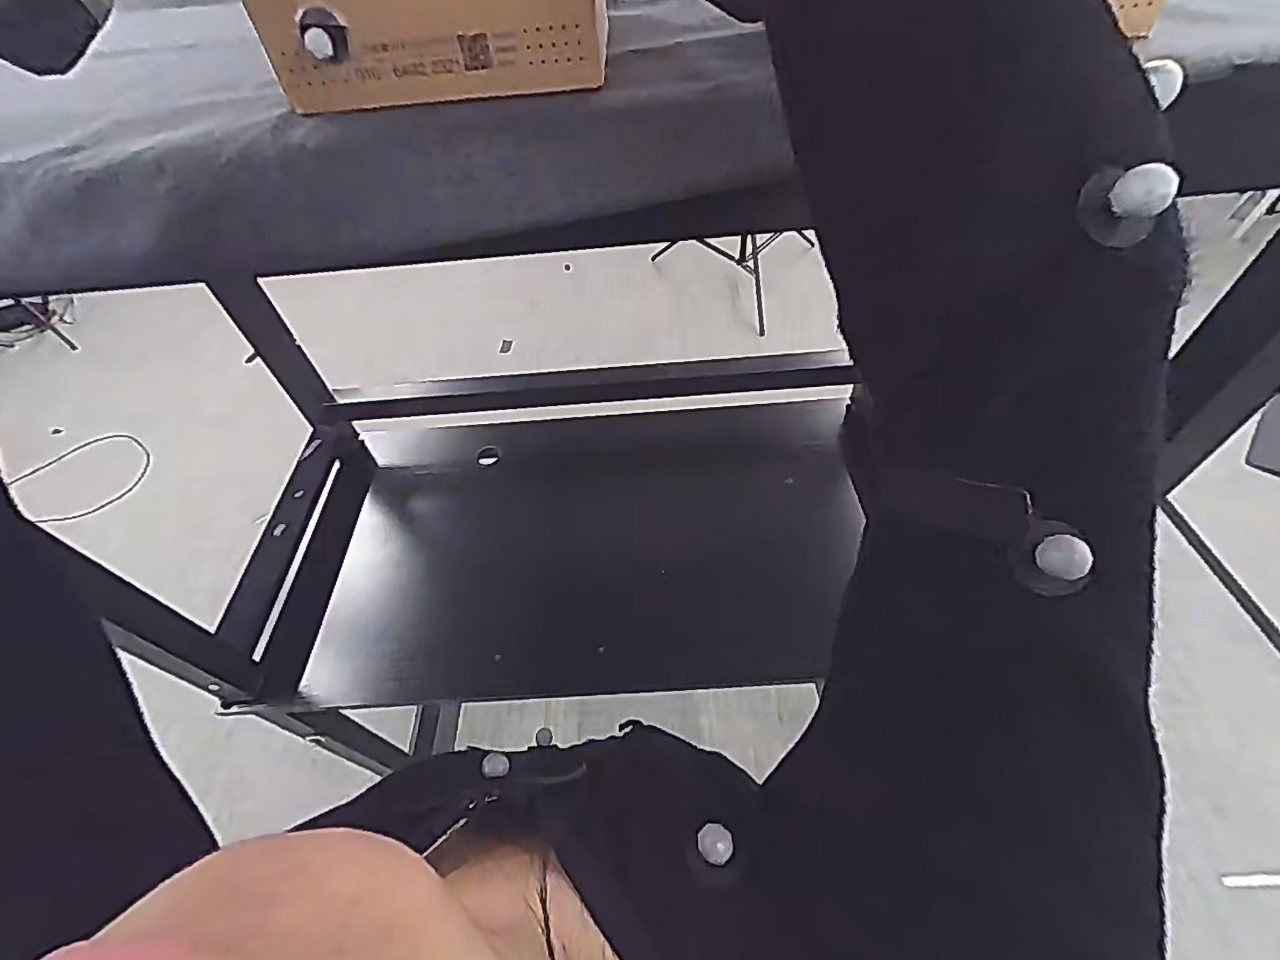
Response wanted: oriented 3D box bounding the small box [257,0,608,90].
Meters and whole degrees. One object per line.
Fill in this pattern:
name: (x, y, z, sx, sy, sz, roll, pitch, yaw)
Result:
small box: (-0.107, -0.315, 0.273, 0.168, 0.176, 0.179, -4, 48, 2)
